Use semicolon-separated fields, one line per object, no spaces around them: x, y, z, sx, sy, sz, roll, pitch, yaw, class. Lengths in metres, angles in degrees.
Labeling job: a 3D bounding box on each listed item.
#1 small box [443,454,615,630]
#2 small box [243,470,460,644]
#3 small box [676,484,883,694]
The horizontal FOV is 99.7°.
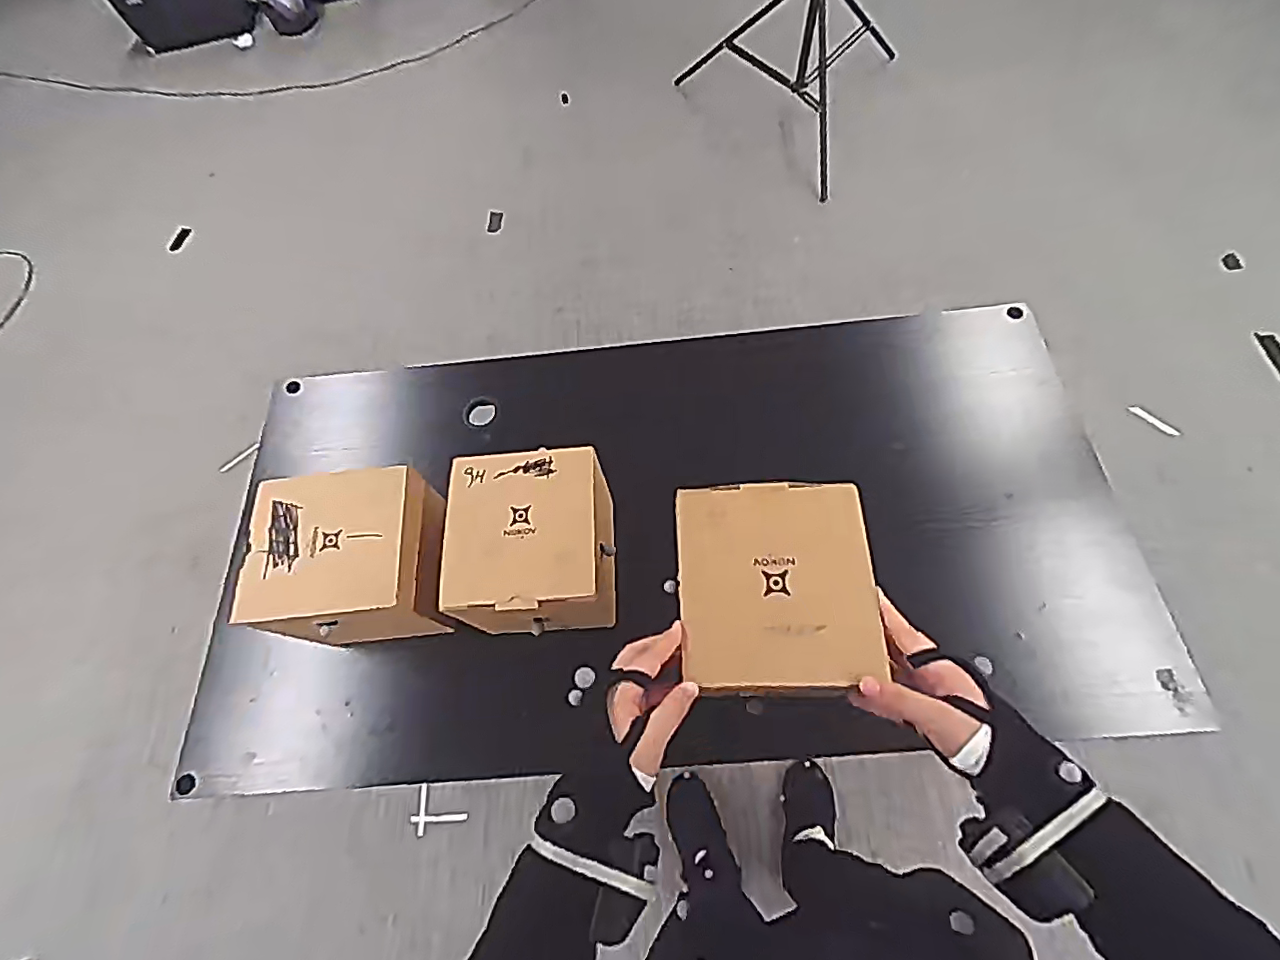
-0.122;0.086;0.665;0.168;0.176;0.179;-5;66;3;small box
-0.336;0.104;0.675;0.179;0.176;0.168;-7;66;1;small box
0.121;0.118;0.548;0.168;0.176;0.179;-3;67;4;small box
